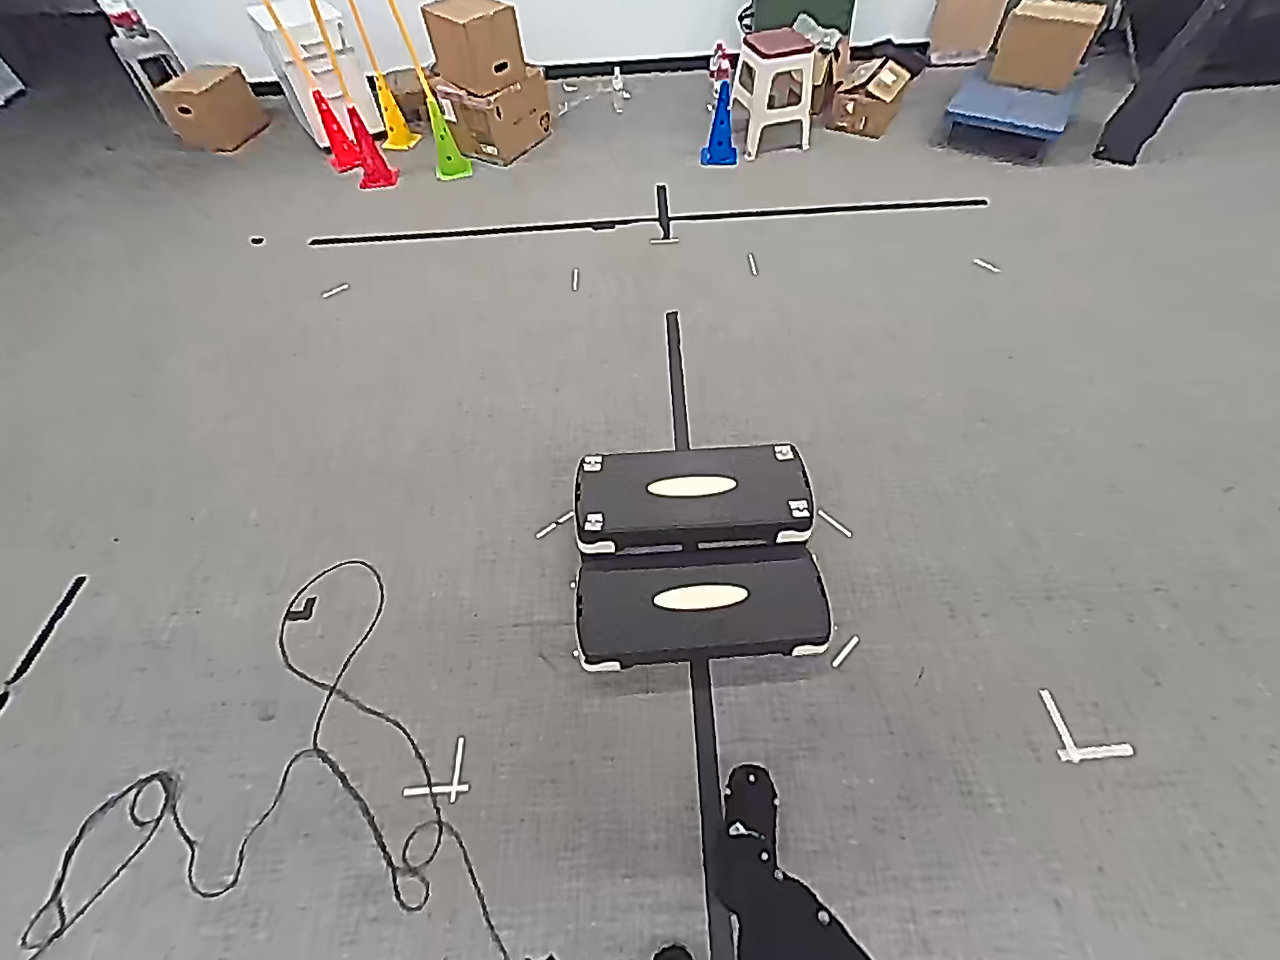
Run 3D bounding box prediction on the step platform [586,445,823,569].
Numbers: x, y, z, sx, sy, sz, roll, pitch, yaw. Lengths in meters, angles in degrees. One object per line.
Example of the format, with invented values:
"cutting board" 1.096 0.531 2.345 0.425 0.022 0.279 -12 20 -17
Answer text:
"step platform" 0.180 0.074 1.606 0.684 0.204 0.286 -4 54 -1
